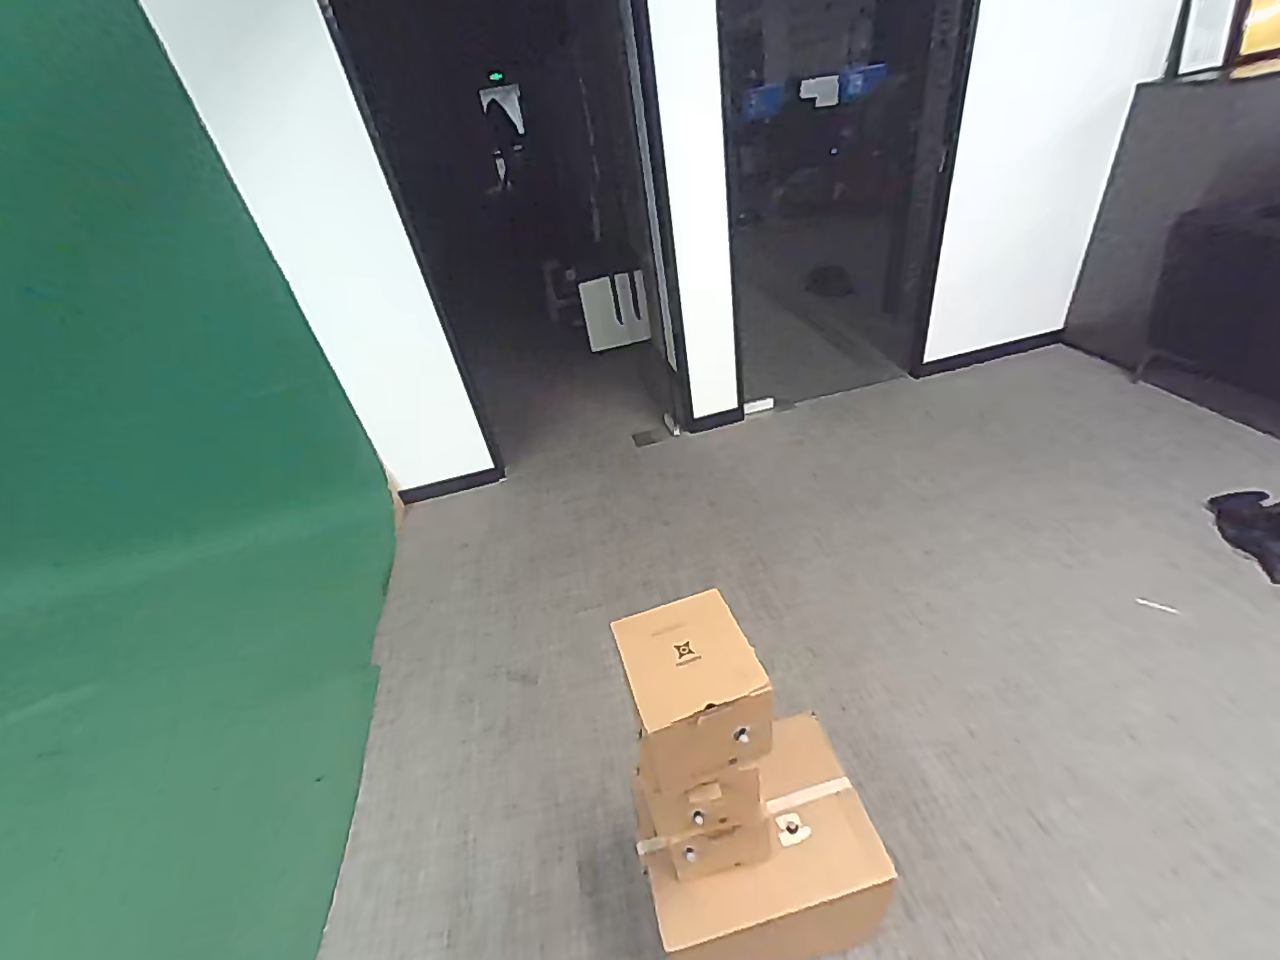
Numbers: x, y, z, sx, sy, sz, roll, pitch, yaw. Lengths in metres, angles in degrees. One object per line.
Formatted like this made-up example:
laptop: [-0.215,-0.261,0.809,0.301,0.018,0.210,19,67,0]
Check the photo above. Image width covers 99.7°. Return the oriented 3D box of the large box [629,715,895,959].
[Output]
large box: [0.219,0.741,1.075,0.408,0.320,0.320,-13,36,-6]

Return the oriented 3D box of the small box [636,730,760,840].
small box: [0.084,0.424,0.847,0.168,0.176,0.179,-10,35,-1]

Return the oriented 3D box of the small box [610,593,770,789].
small box: [0.069,0.295,0.749,0.168,0.176,0.179,-16,35,-10]
